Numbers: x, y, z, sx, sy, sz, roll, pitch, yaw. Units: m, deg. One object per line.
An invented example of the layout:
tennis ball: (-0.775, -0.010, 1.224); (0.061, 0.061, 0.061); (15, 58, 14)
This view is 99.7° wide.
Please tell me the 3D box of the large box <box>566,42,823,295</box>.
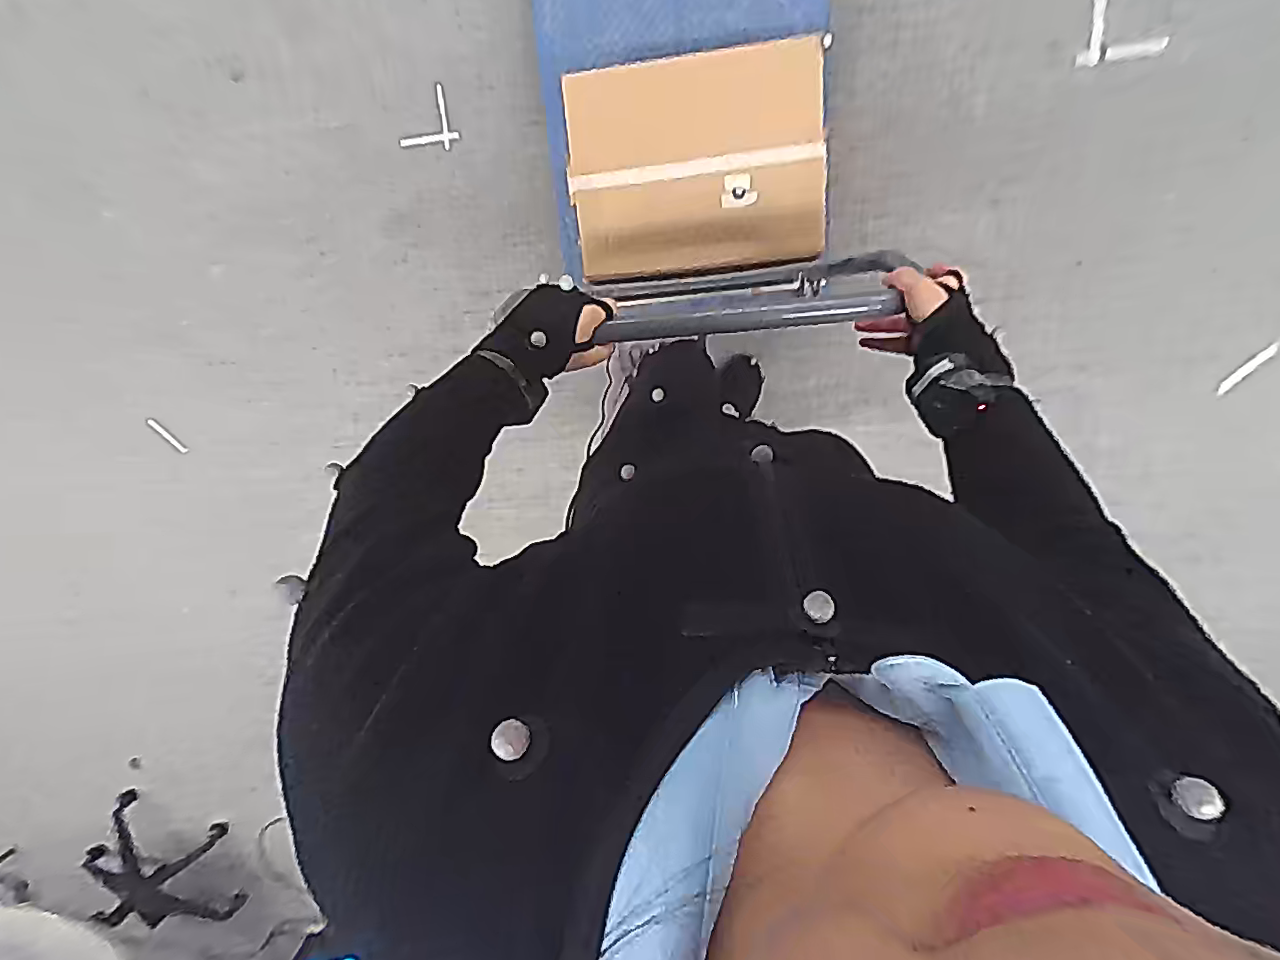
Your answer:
large box: (0.104, -0.544, 1.026); (0.408, 0.320, 0.320); (-4, 106, 6)
